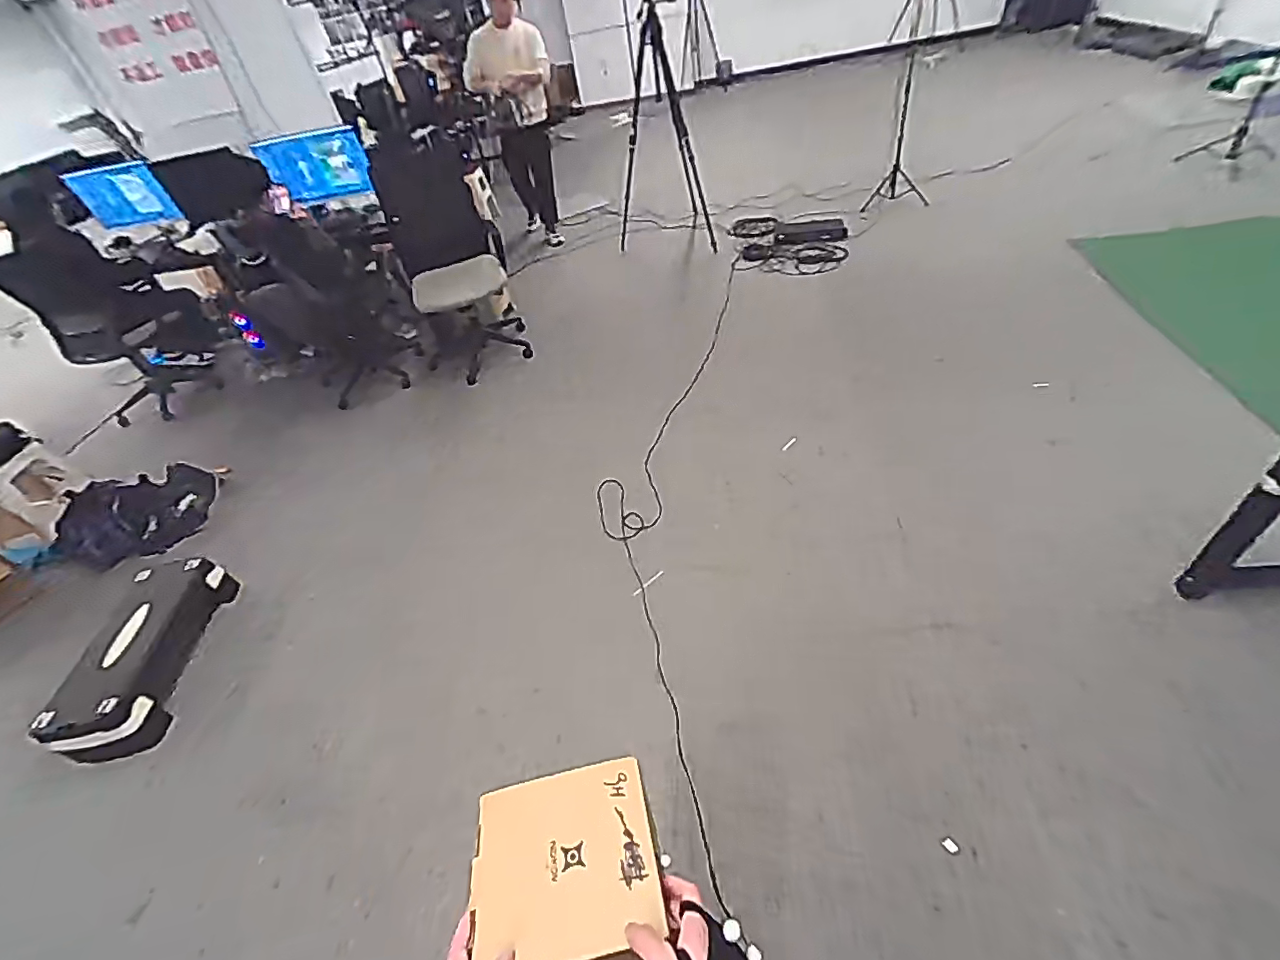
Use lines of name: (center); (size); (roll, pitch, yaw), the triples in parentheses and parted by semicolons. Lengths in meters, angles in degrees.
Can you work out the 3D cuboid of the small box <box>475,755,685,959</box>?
small box: (-0.058, 0.431, 0.571); (0.179, 0.176, 0.168); (-12, 35, -4)
